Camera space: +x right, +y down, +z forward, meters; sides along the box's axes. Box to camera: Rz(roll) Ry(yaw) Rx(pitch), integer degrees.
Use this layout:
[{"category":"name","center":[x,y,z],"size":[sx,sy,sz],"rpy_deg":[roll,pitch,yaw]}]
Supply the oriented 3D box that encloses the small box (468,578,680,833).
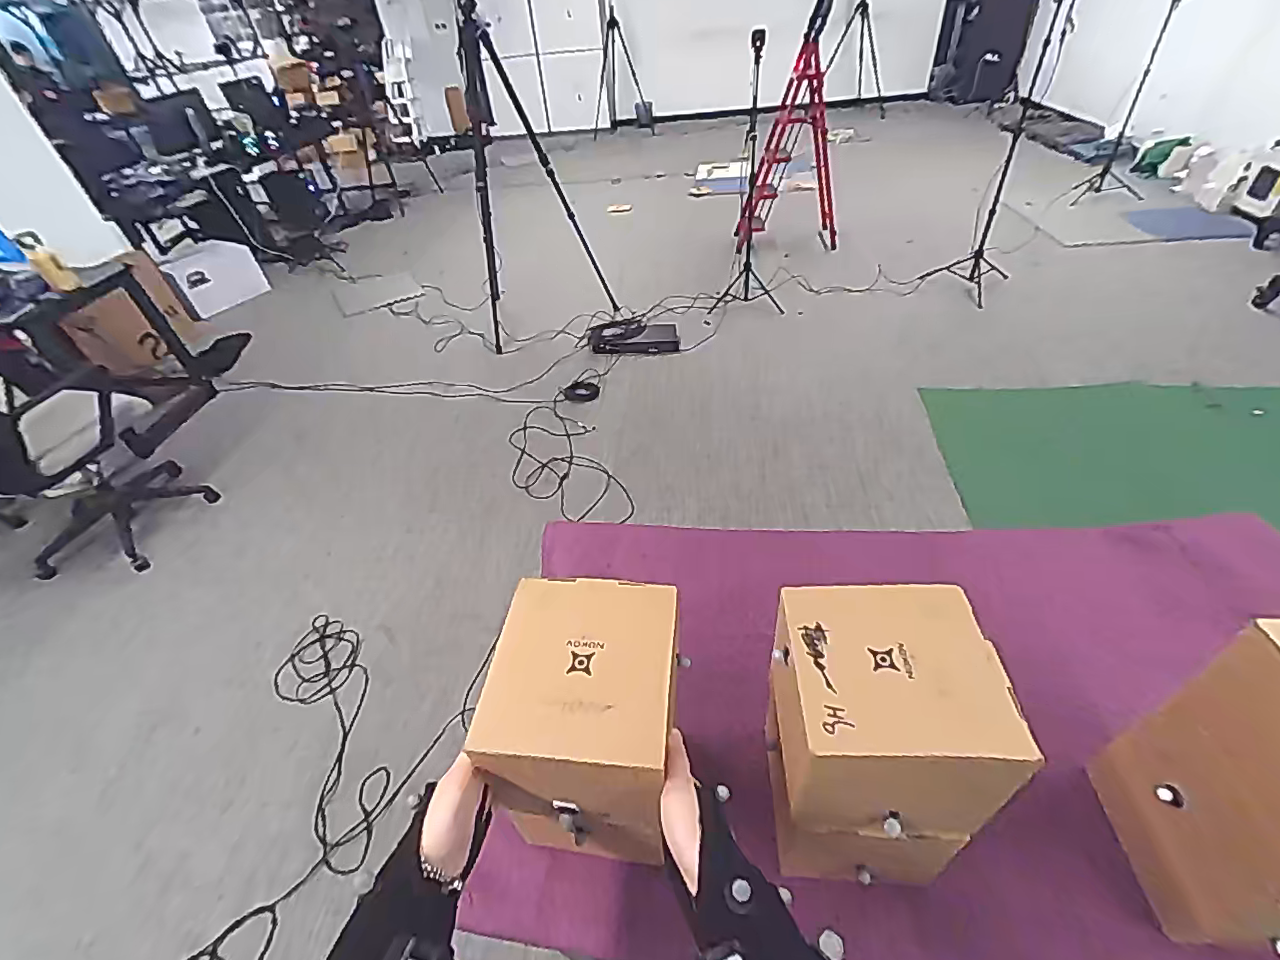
[{"category":"small box","center":[-0.048,0.222,0.540],"size":[0.168,0.176,0.179],"rpy_deg":[2,44,6]}]

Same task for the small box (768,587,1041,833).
[{"category":"small box","center":[0.230,0.223,0.528],"size":[0.179,0.176,0.168],"rpy_deg":[-1,39,5]}]

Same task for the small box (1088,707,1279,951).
[{"category":"small box","center":[0.632,0.366,0.570],"size":[0.168,0.176,0.179],"rpy_deg":[0,42,7]}]

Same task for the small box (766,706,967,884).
[{"category":"small box","center":[0.244,0.346,0.638],"size":[0.168,0.176,0.179],"rpy_deg":[-1,42,6]}]
